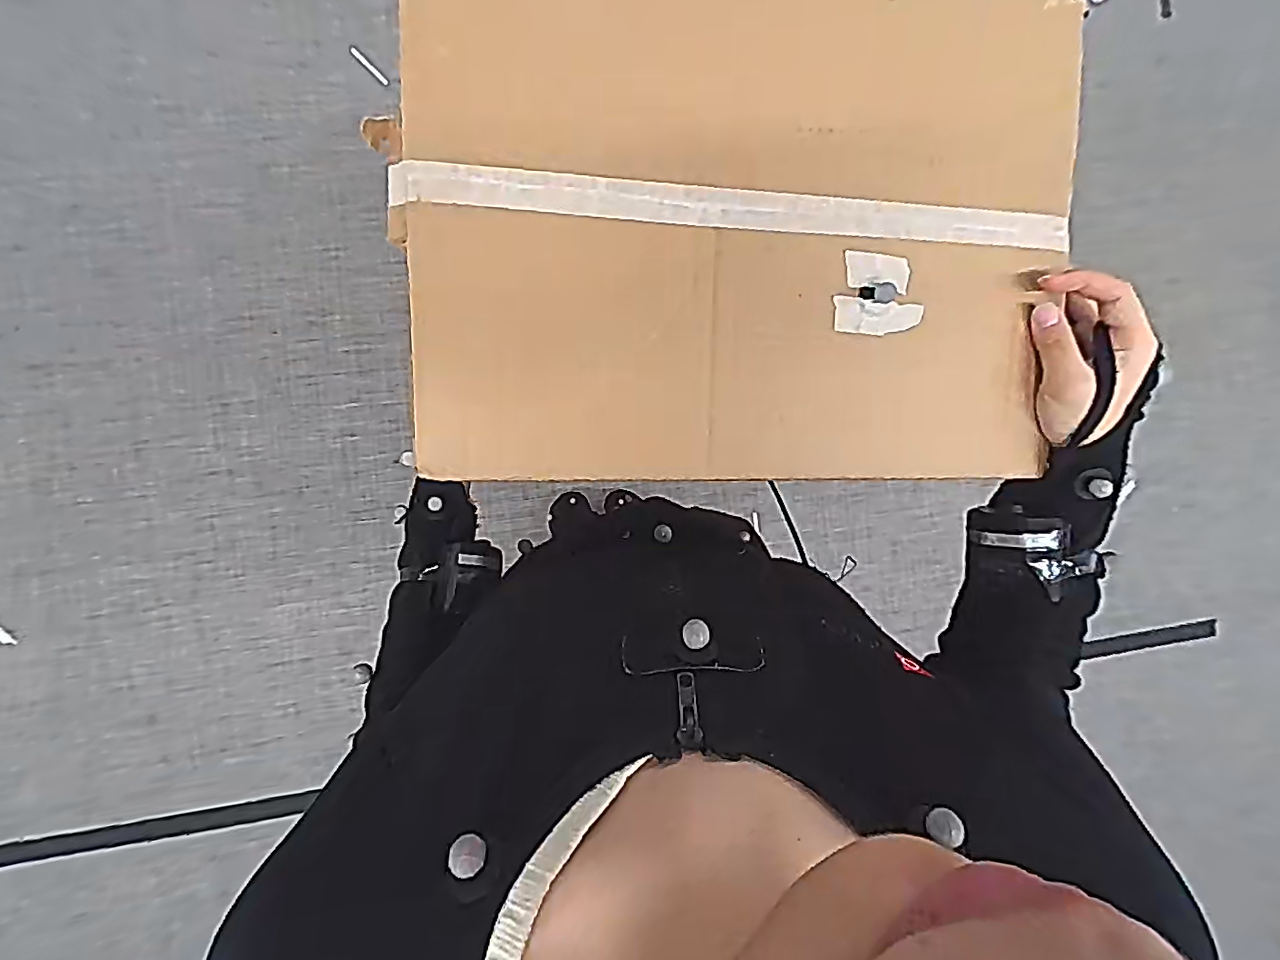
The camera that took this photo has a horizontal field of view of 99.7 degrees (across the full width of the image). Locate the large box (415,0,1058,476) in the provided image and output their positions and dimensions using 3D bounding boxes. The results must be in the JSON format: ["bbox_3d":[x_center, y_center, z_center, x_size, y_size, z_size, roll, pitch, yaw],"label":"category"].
[{"bbox_3d":[0.048,-0.174,0.471,0.408,0.320,0.320,-1,96,-12],"label":"large box"}]
